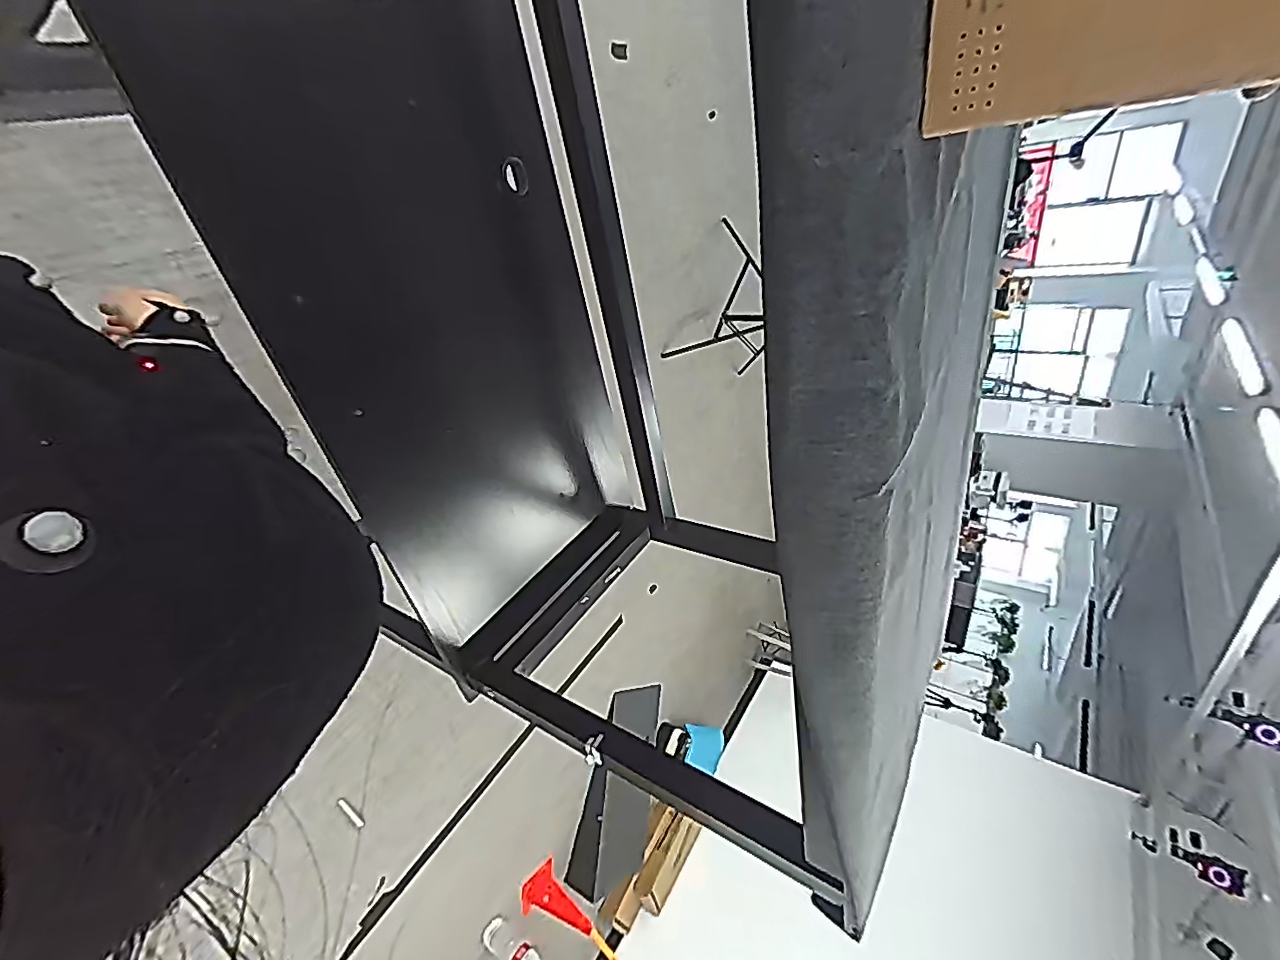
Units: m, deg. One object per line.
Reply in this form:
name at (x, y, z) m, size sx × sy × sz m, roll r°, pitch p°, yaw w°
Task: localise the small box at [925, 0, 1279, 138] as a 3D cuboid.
small box at (0.227, -0.258, 0.221) m, size 0.179 × 0.176 × 0.168 m, roll -48°, pitch 137°, yaw -40°
